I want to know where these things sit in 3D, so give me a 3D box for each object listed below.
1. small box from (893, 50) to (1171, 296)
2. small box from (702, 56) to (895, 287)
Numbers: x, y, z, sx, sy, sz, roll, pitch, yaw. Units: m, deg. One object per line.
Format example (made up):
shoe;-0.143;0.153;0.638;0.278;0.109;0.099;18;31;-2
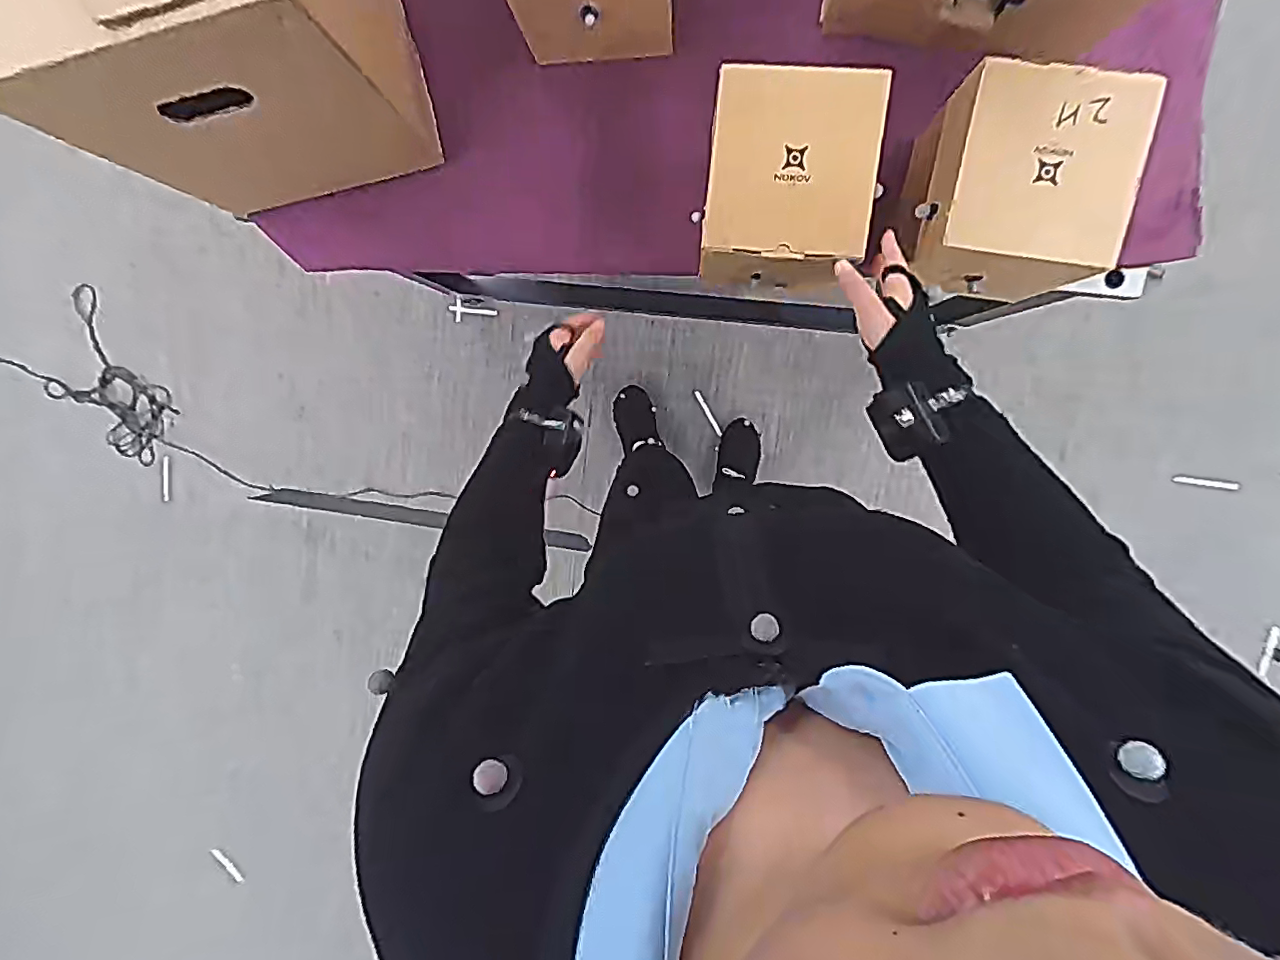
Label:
small box;0.397;-0.311;0.588;0.168;0.176;0.179;10;97;4
small box;0.161;-0.329;0.610;0.168;0.176;0.179;6;100;4
